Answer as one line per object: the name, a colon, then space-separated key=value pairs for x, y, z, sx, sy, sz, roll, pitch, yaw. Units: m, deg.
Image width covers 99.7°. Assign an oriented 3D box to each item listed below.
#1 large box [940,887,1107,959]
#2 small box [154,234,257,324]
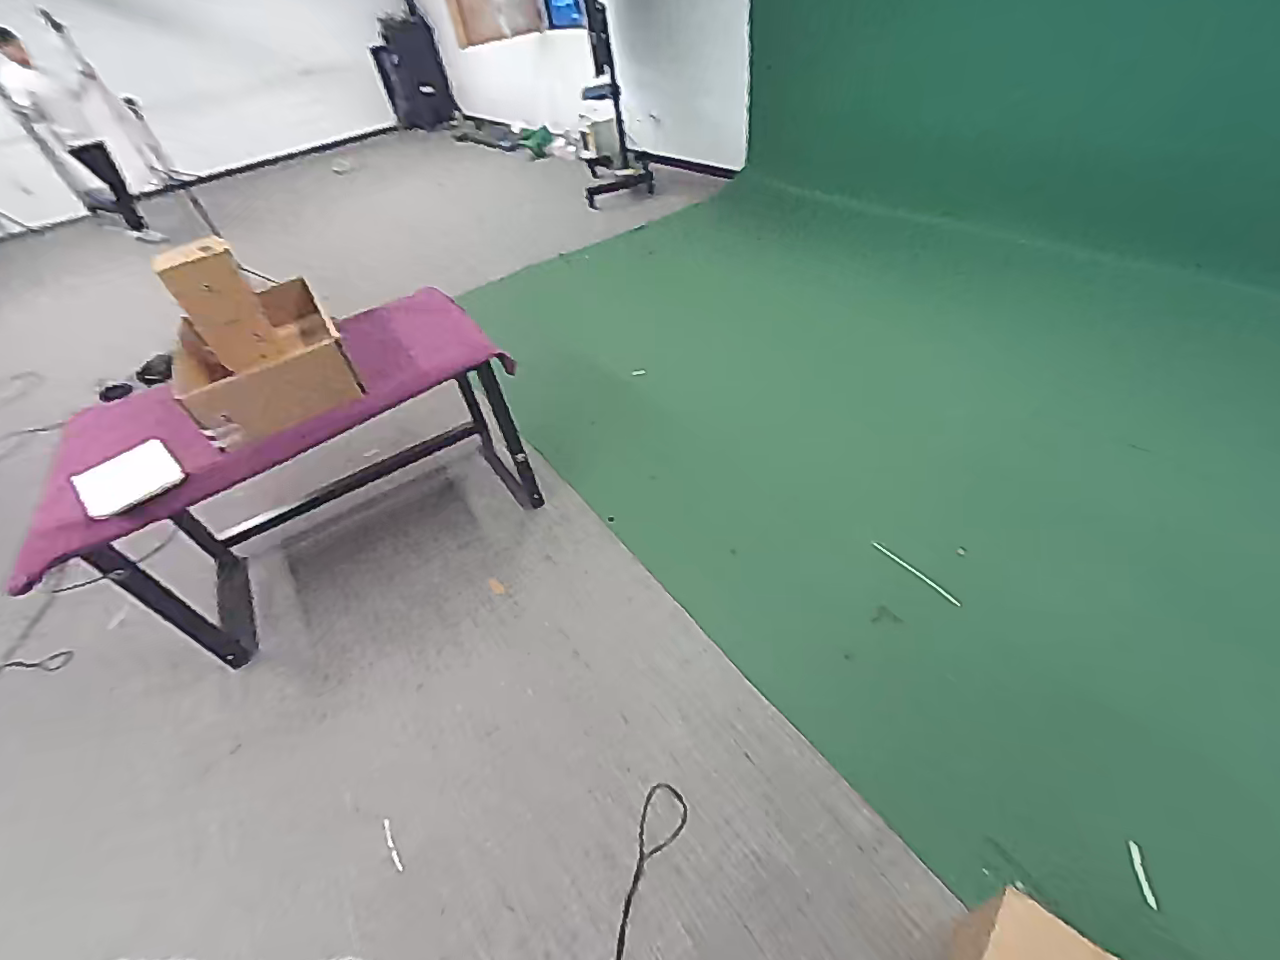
large box: x=0.629 y=0.982 z=0.854 sx=0.320 sy=0.320 sz=0.408 roll=28 pitch=54 yaw=32
small box: x=-1.237 y=-0.576 z=1.550 sx=0.179 sy=0.176 sz=0.168 roll=-31 pitch=48 yaw=-20
